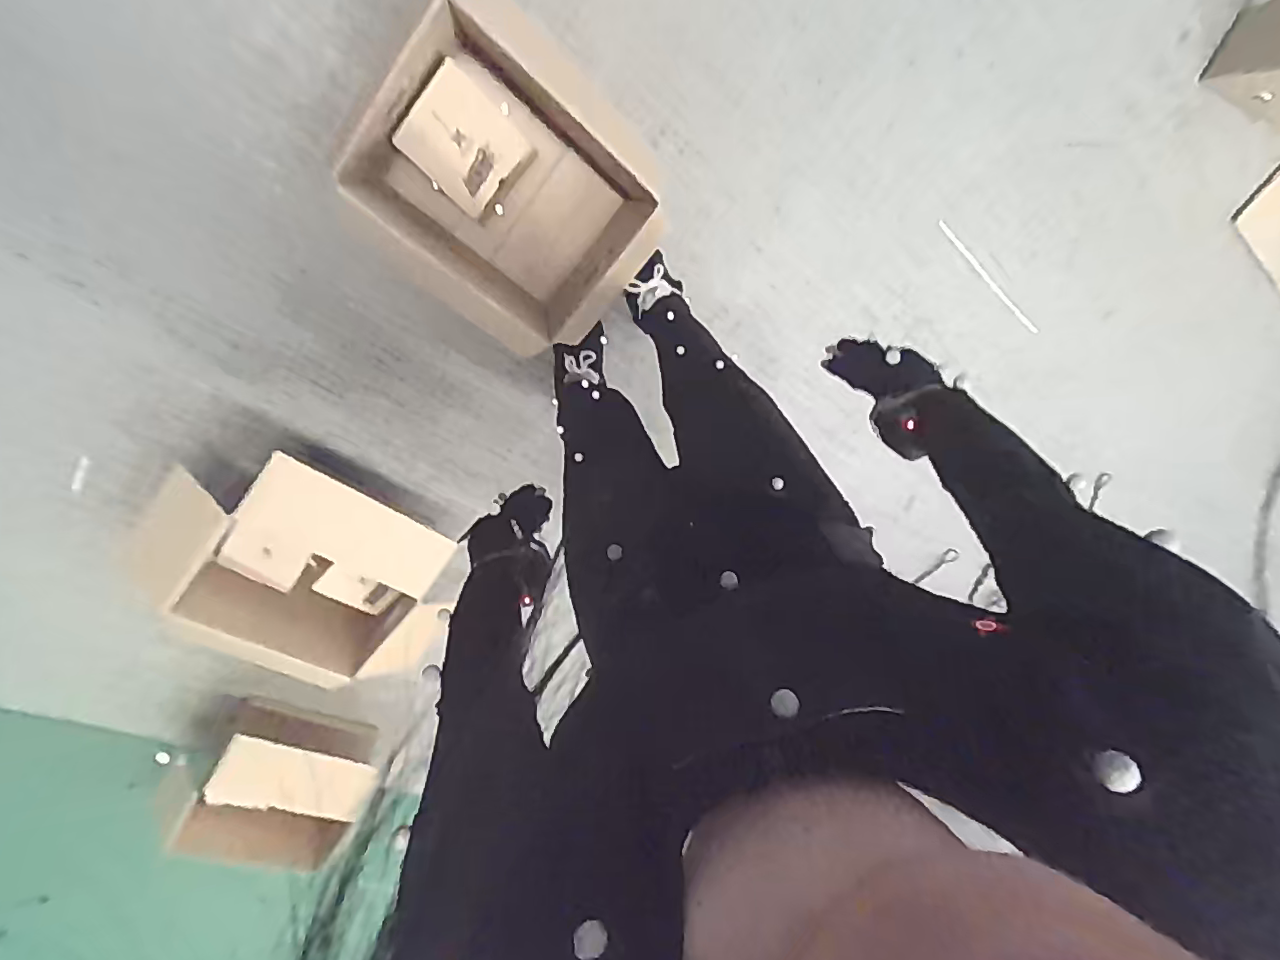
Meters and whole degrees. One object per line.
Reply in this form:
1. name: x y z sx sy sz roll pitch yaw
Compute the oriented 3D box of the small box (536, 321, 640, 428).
1. small box: -0.126 -0.252 1.283 0.179 0.176 0.168 46 113 -7
